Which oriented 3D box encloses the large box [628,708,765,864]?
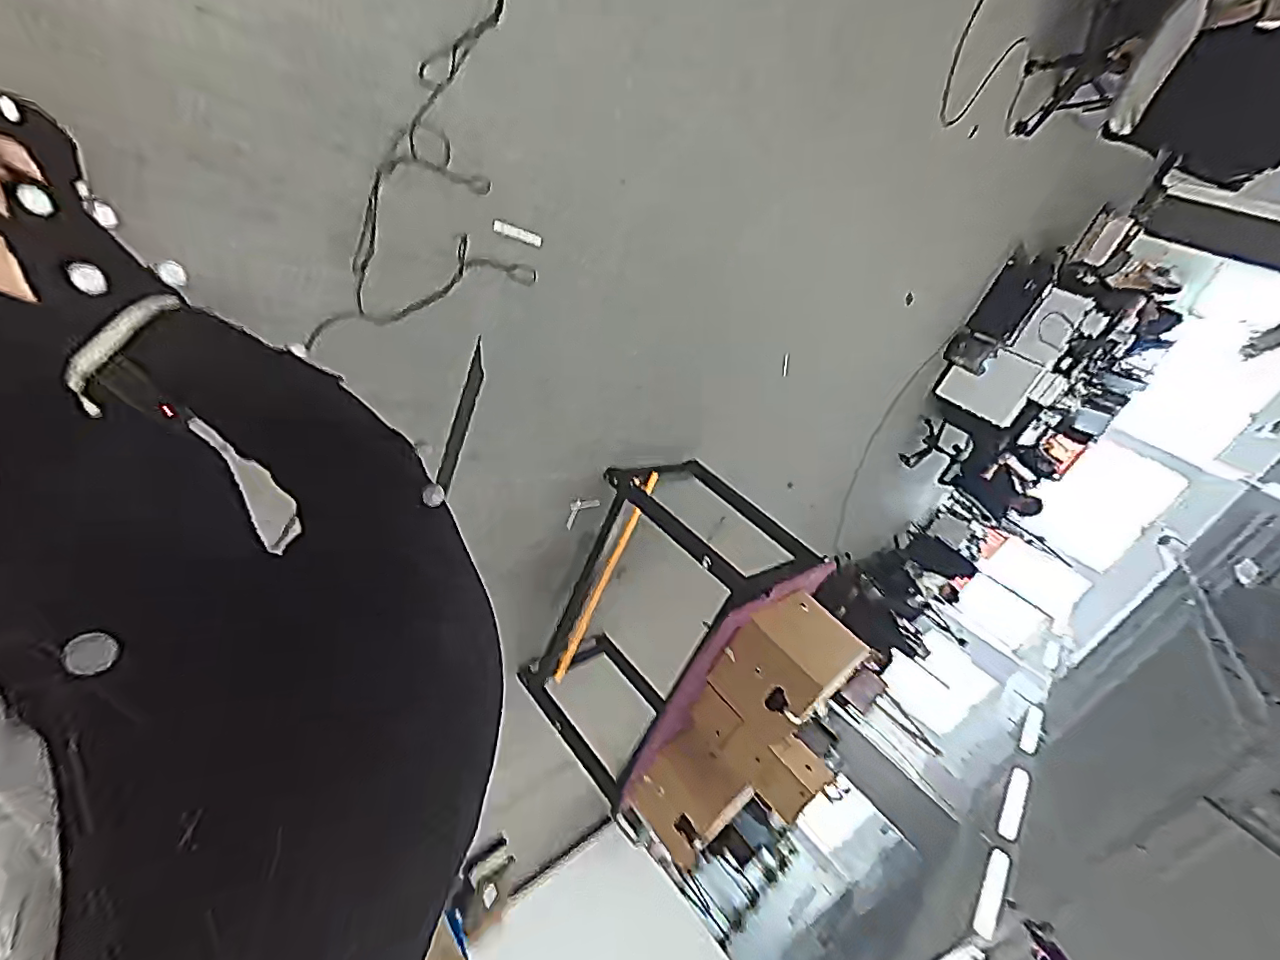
[{"bbox_3d":[0.225,1.203,2.167,0.408,0.320,0.320,-8,130,-50],"label":"large box"}]
